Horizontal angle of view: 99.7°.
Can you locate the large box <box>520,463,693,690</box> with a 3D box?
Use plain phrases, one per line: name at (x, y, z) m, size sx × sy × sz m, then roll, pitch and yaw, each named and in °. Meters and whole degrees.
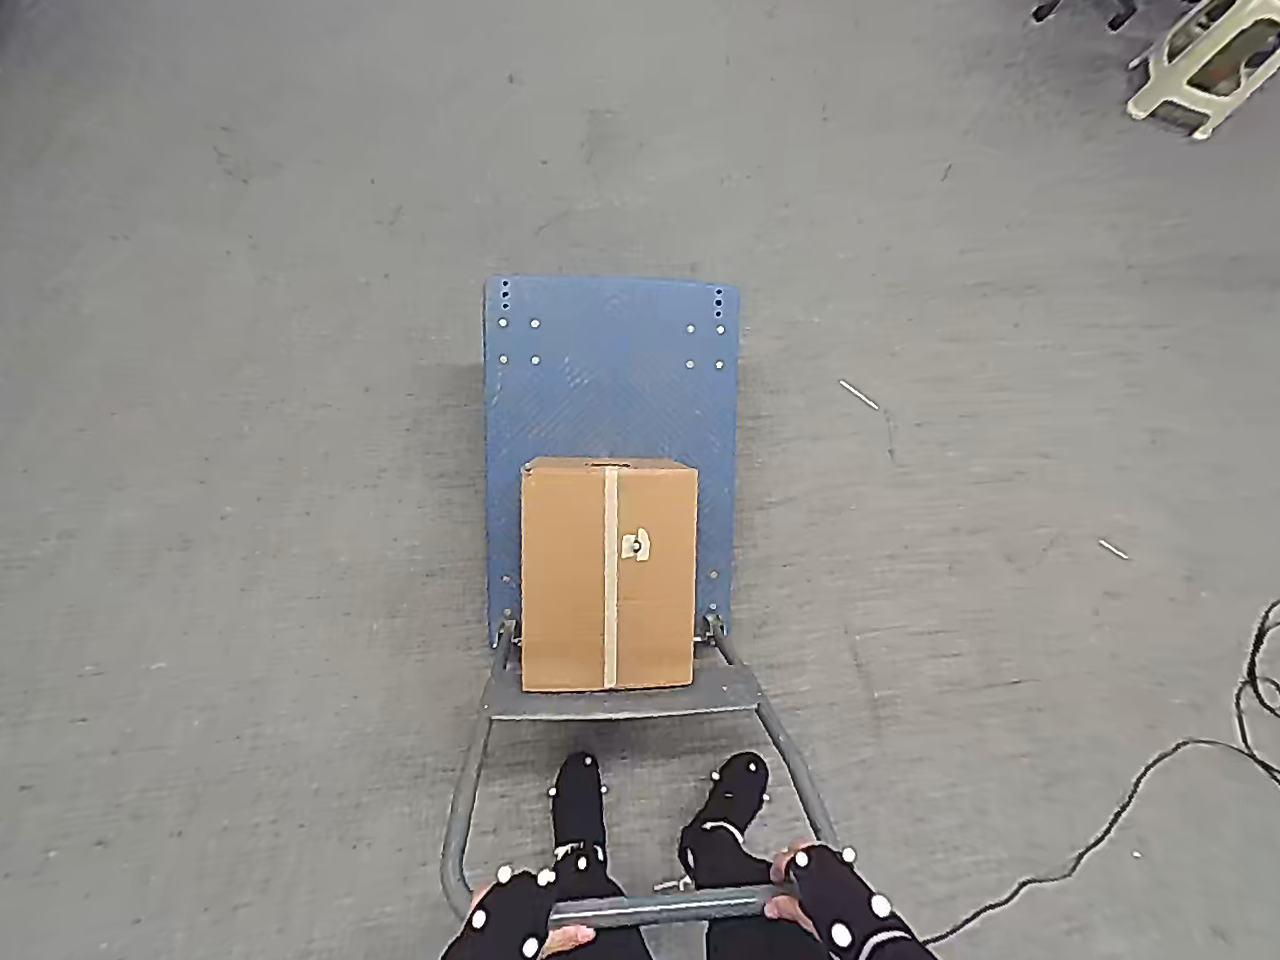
large box at (-0.071, 0.173, 1.125) m, size 0.320 × 0.320 × 0.408 m, roll 0°, pitch 94°, yaw -7°
